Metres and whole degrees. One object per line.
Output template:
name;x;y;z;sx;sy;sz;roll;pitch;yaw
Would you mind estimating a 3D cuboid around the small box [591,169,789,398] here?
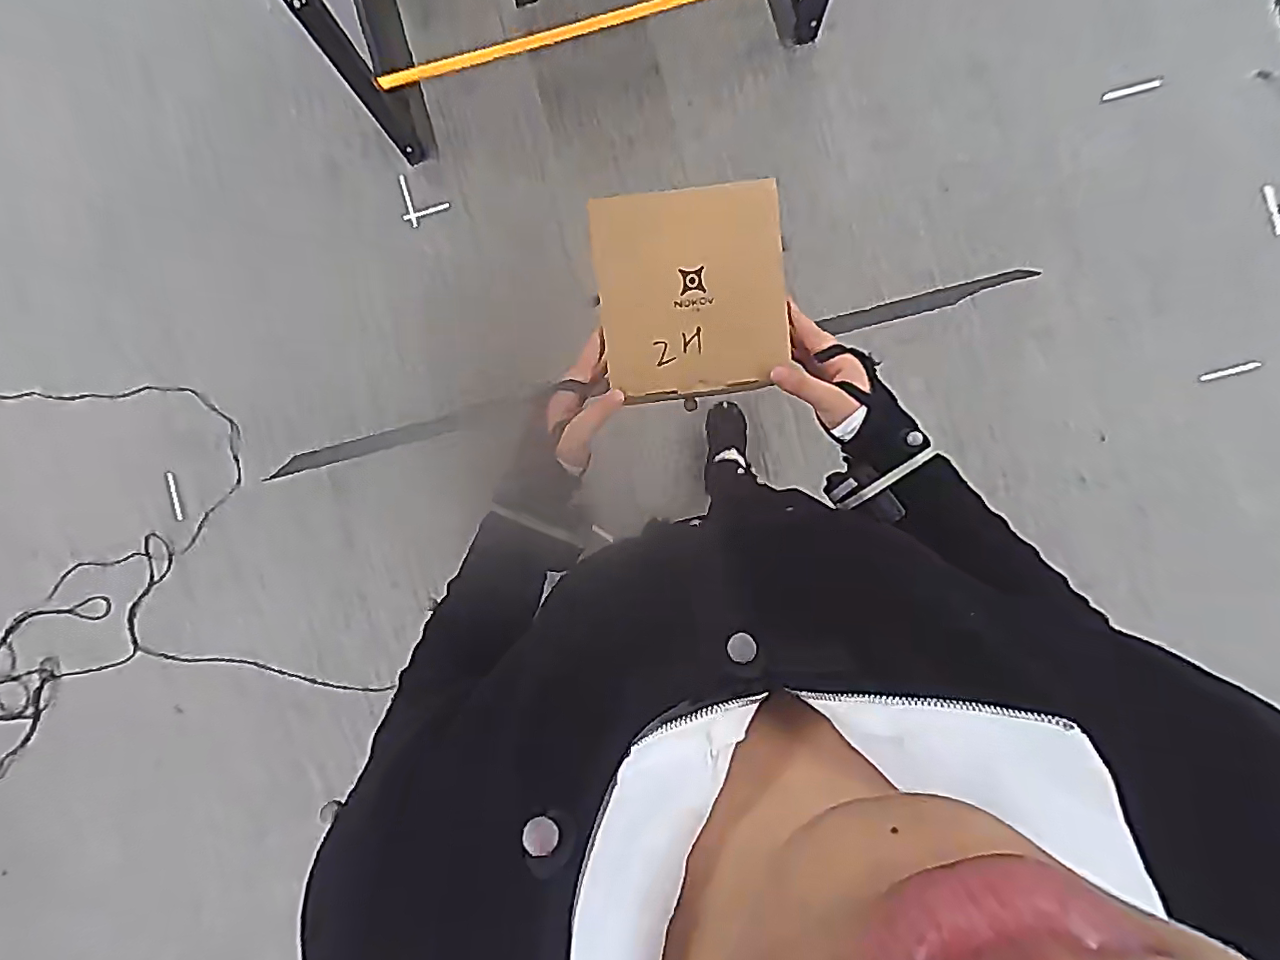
small box;0.044;-0.184;0.555;0.168;0.176;0.179;-6;96;1
